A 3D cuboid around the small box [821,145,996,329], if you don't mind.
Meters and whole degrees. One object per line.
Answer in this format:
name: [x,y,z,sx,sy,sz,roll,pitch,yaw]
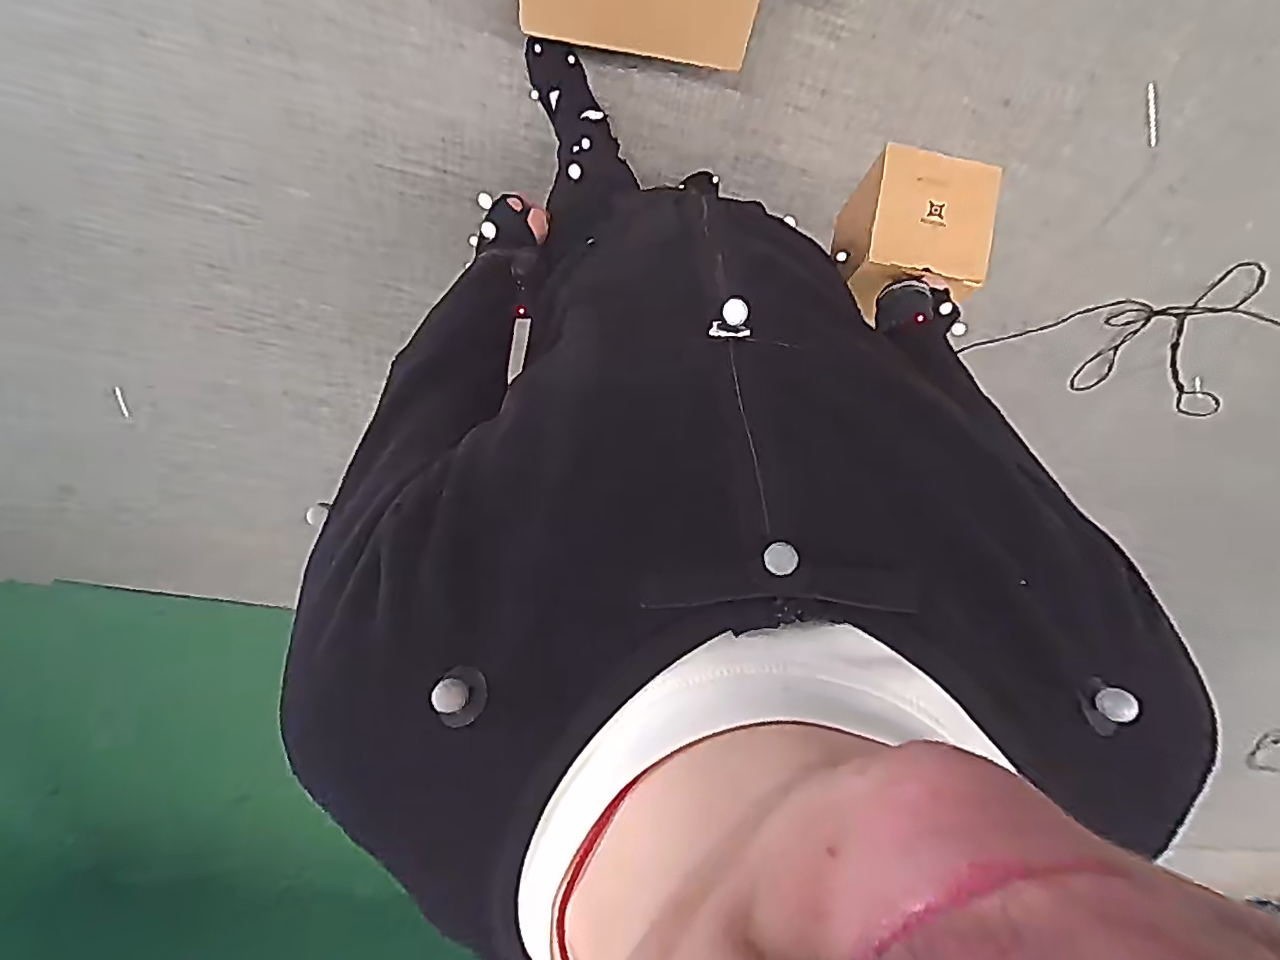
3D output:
small box: [0.387,-0.347,0.806,0.168,0.176,0.179,12,82,-2]
